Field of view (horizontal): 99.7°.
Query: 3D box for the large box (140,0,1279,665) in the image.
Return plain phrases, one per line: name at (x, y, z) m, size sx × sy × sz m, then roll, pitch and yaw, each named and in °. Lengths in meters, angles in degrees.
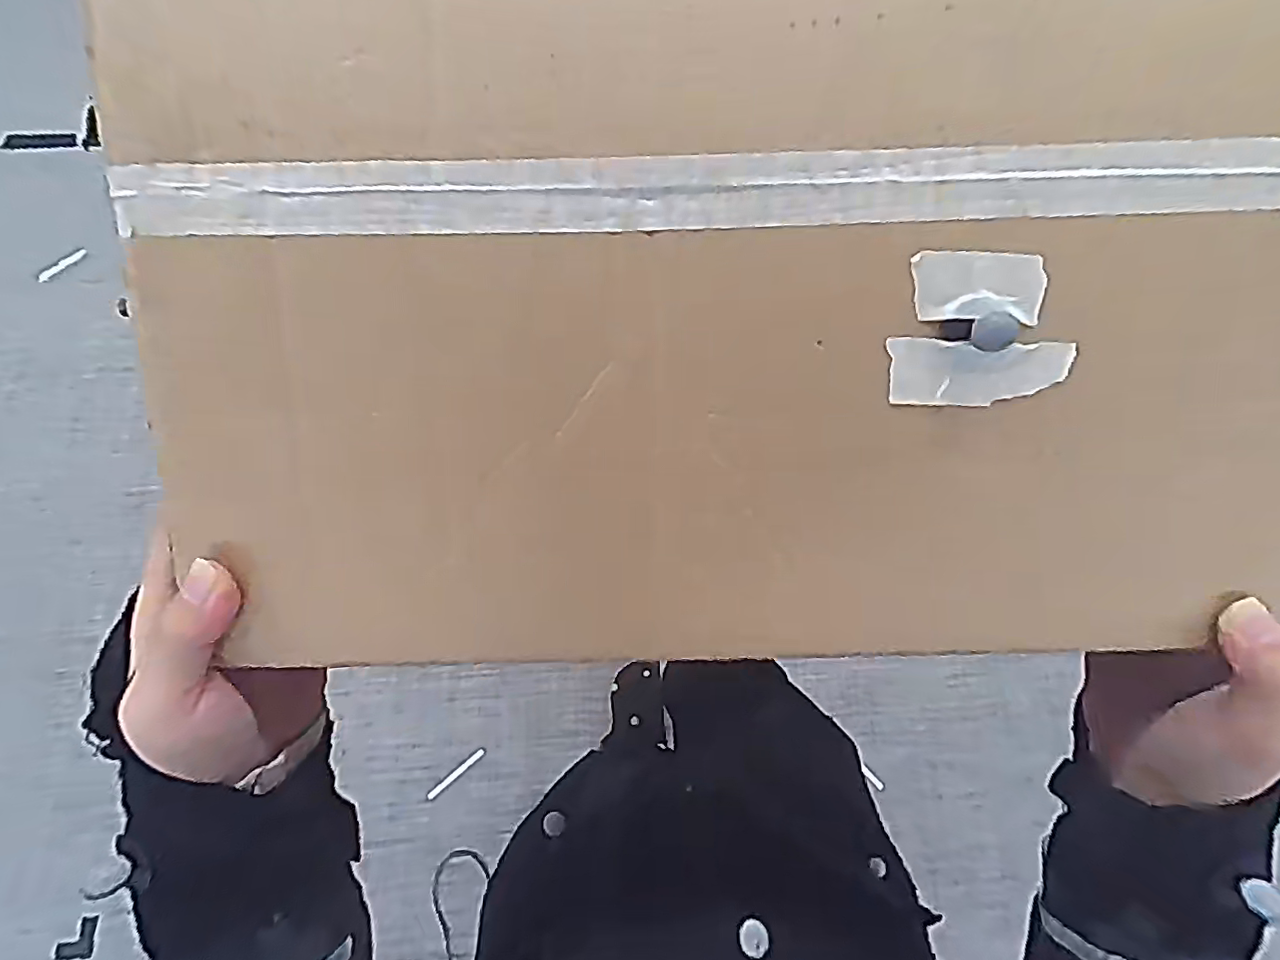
large box at (0.037, -0.110, 0.331) m, size 0.408 × 0.320 × 0.320 m, roll -2°, pitch 99°, yaw -1°
